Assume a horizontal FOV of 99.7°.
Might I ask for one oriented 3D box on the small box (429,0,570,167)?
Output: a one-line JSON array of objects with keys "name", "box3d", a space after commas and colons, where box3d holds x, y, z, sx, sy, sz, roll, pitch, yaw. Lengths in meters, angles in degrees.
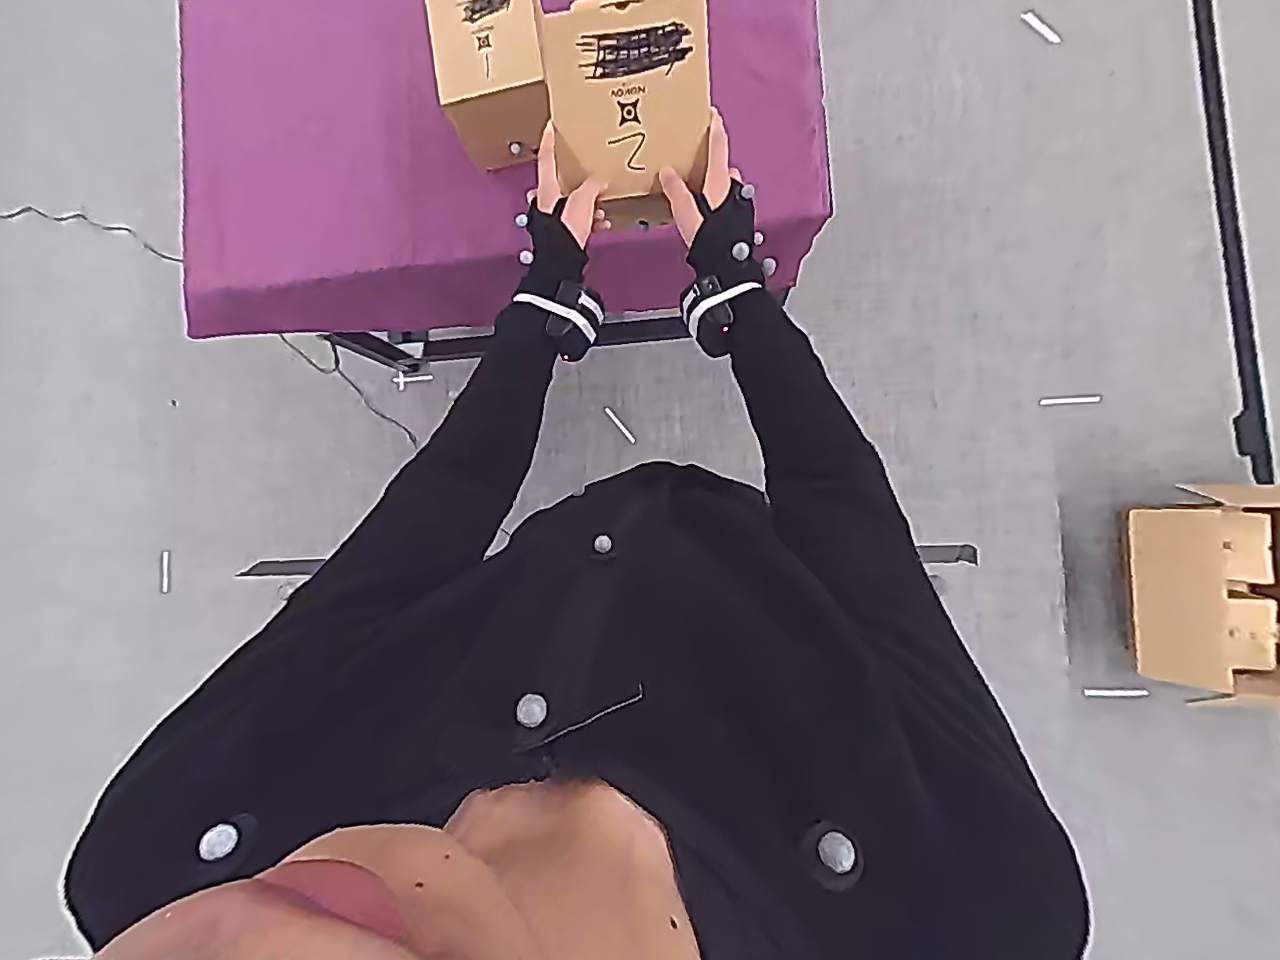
[{"name": "small box", "box3d": [-0.222, -0.660, 0.890, 0.168, 0.176, 0.179, -9, 87, 7]}]
